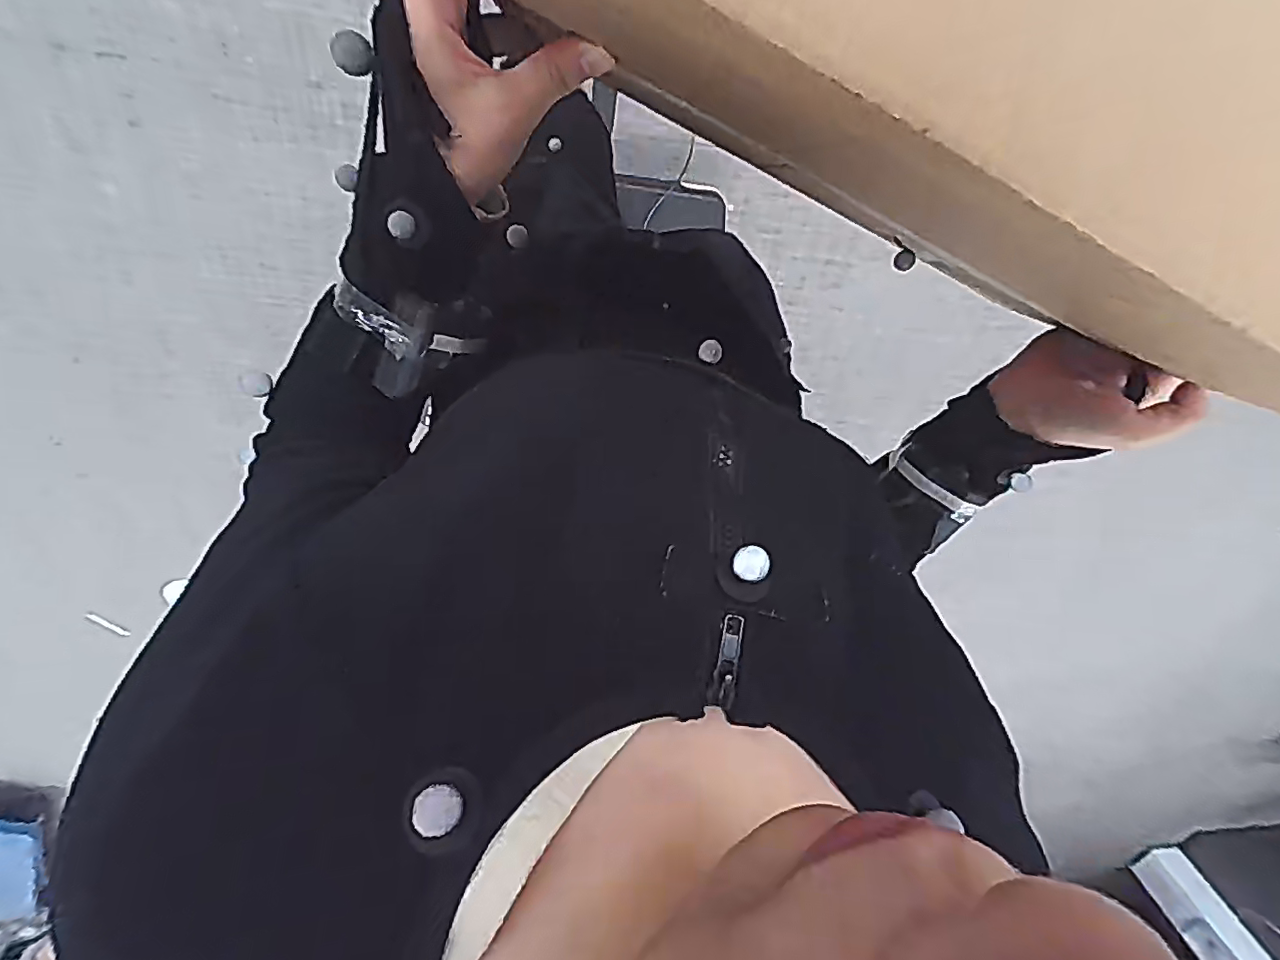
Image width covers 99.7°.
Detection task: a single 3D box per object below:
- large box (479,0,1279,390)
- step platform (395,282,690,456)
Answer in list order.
[{"bbox_3d":[0.162,-0.273,0.201,0.408,0.320,0.320,20,120,-11],"label":"large box"},{"bbox_3d":[-0.223,-0.258,1.316,0.684,0.204,0.286,8,123,-12],"label":"step platform"}]
